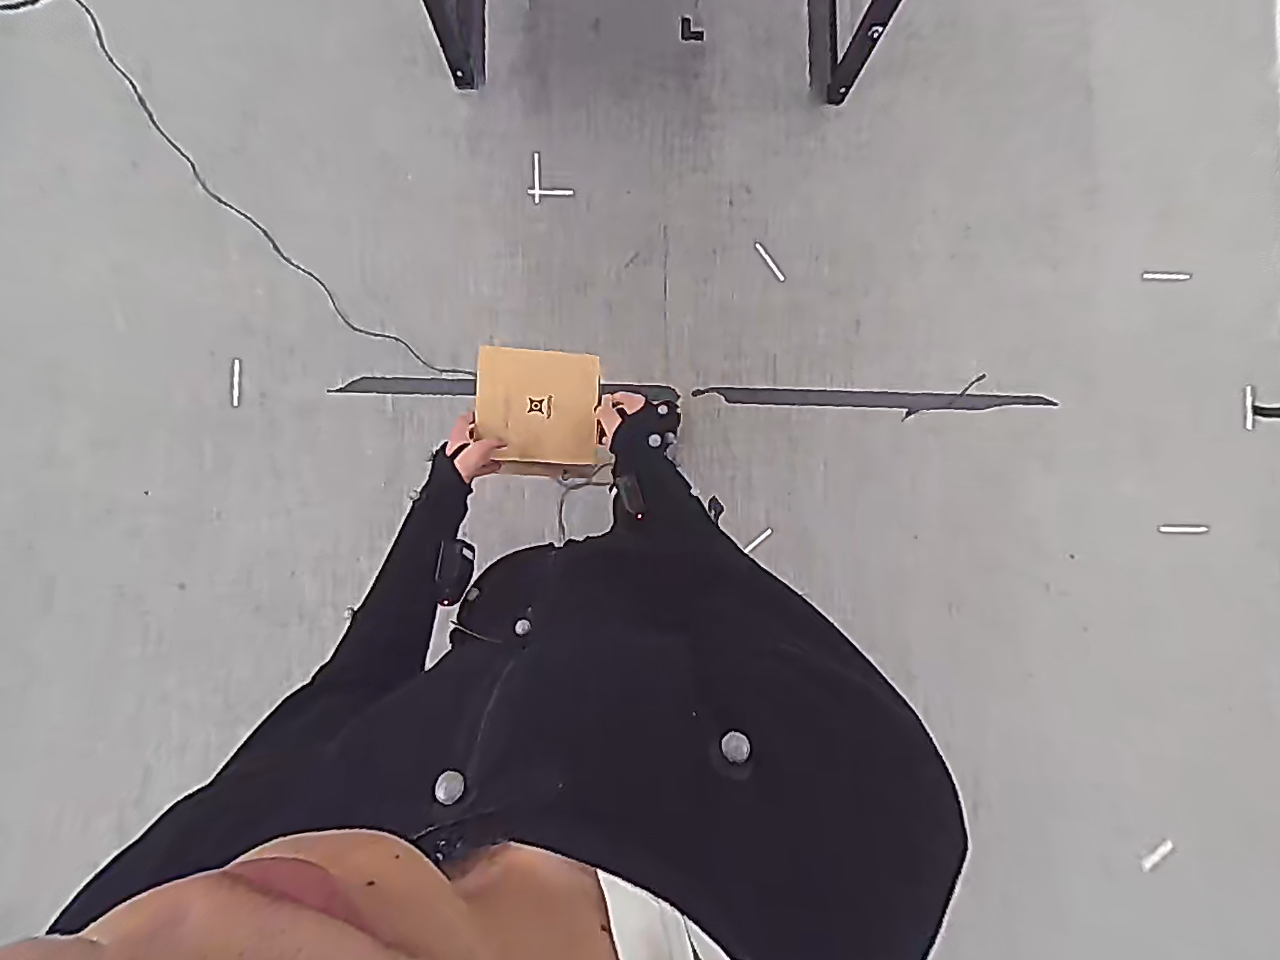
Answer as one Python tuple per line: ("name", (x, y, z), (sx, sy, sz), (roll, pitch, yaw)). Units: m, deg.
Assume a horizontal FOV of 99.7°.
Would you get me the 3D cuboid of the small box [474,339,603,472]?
("small box", (-0.156, -0.106, 0.844), (0.179, 0.176, 0.168), (2, 83, -10))
